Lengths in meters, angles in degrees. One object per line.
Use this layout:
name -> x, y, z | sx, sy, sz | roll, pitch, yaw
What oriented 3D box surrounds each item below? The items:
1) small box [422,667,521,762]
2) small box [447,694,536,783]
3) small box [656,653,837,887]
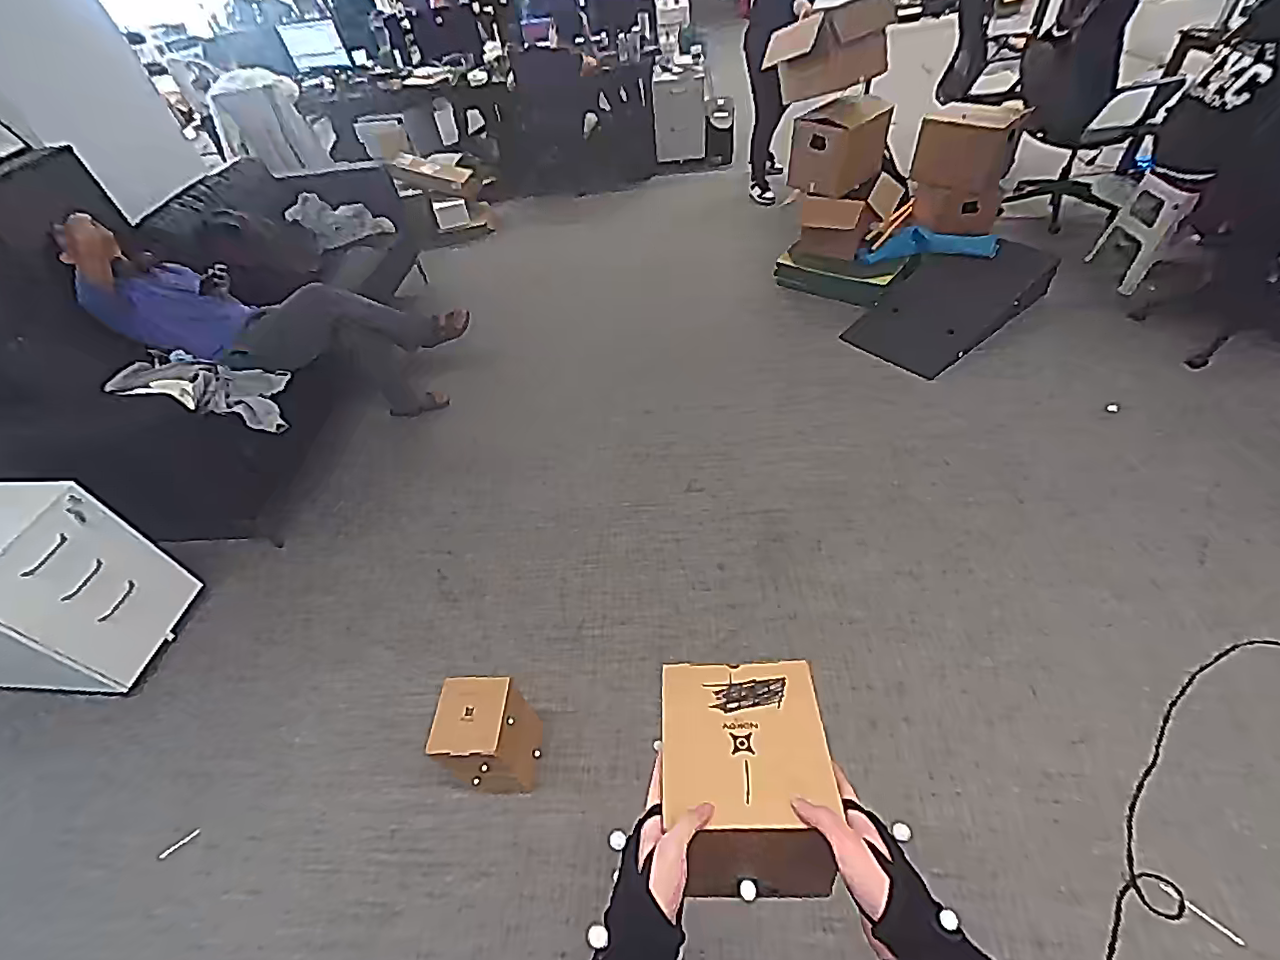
small box -> -0.402, 0.578, 1.323 | 0.168, 0.176, 0.179 | -2, 46, 4
small box -> -0.385, 0.687, 1.442 | 0.168, 0.176, 0.179 | -1, 48, 7
small box -> 0.107, 0.318, 0.603 | 0.168, 0.176, 0.179 | -4, 36, 5
